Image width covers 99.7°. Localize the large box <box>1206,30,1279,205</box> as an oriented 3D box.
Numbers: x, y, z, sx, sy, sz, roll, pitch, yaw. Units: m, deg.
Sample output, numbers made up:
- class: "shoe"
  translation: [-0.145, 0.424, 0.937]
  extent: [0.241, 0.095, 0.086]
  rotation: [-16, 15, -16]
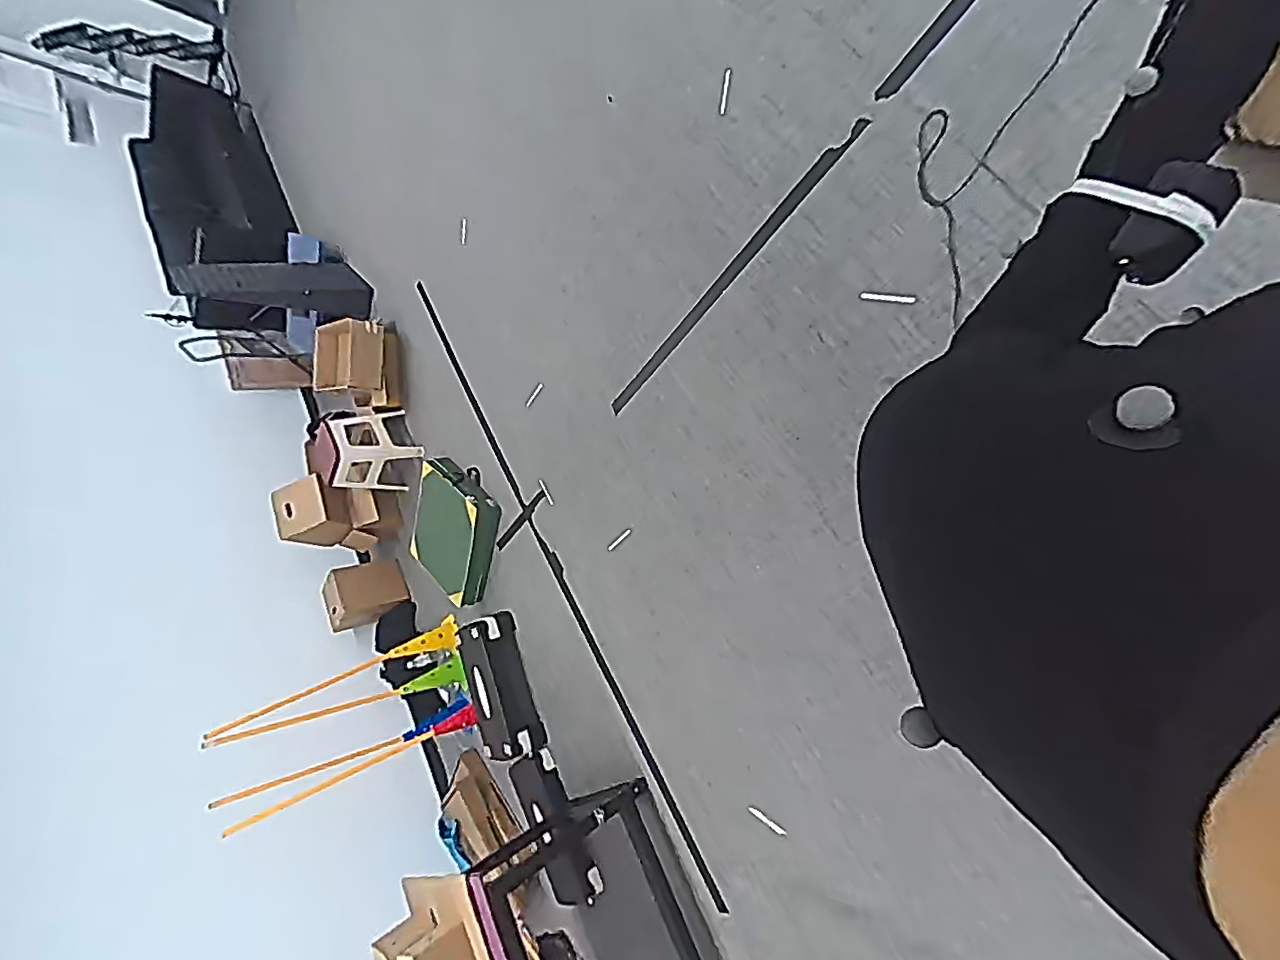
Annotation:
- class: "large box"
  translation: [0.663, -0.307, 0.293]
  extent: [0.408, 0.320, 0.320]
  rotation: [35, 127, 32]
